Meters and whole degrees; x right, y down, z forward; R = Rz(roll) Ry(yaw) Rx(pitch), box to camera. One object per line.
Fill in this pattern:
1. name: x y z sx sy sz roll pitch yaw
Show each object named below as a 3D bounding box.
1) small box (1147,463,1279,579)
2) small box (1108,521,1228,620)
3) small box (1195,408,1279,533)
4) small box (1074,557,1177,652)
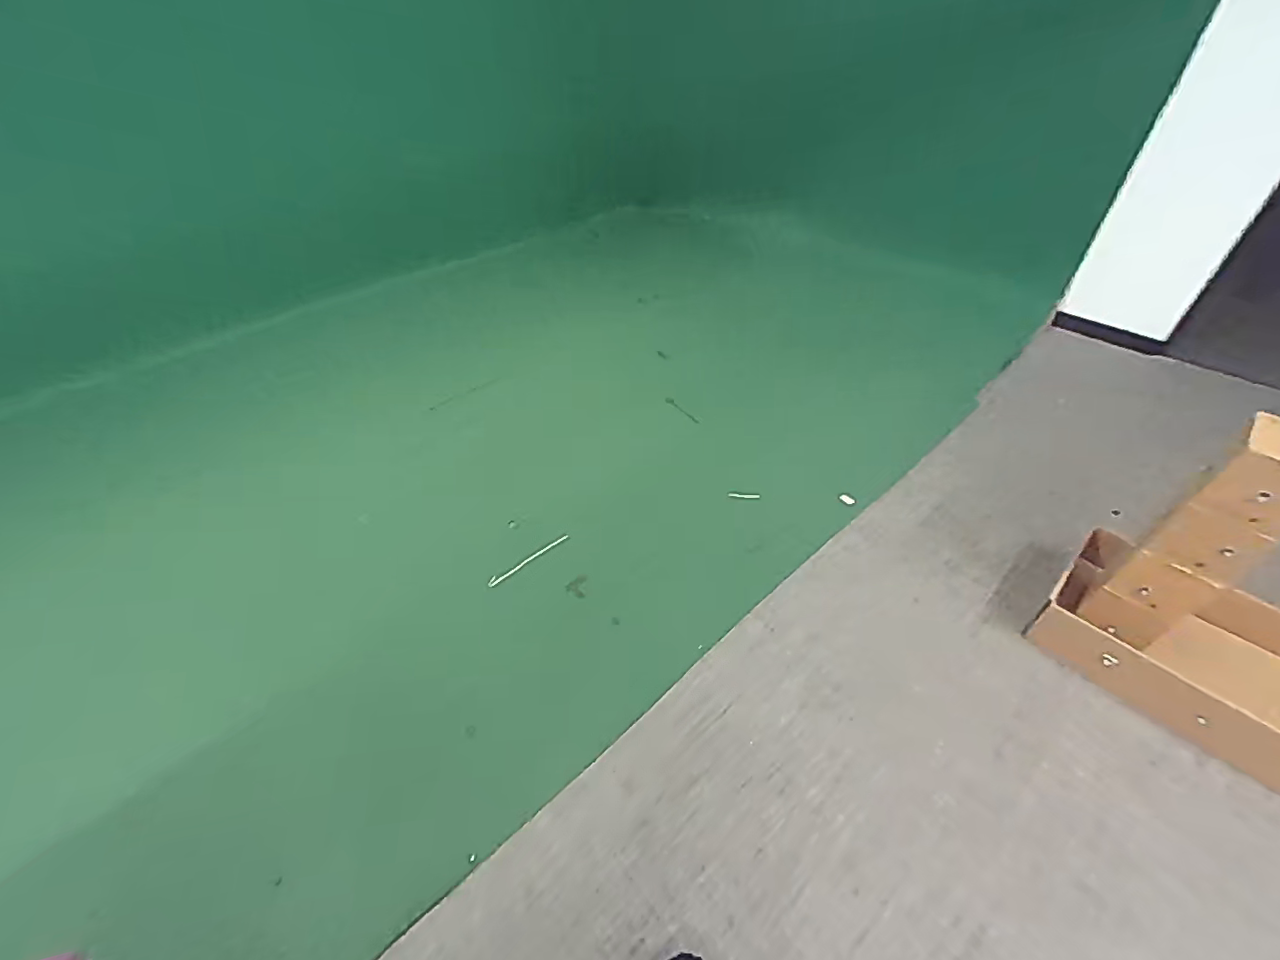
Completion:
1. small box: 1.355 0.099 1.273 0.168 0.176 0.179 35 55 30
2. small box: 1.355 0.219 1.384 0.179 0.176 0.168 -34 54 -28
3. small box: 1.357 -0.018 1.158 0.168 0.176 0.179 36 56 29
4. small box: 1.356 0.335 1.498 0.179 0.176 0.168 -33 53 -28
